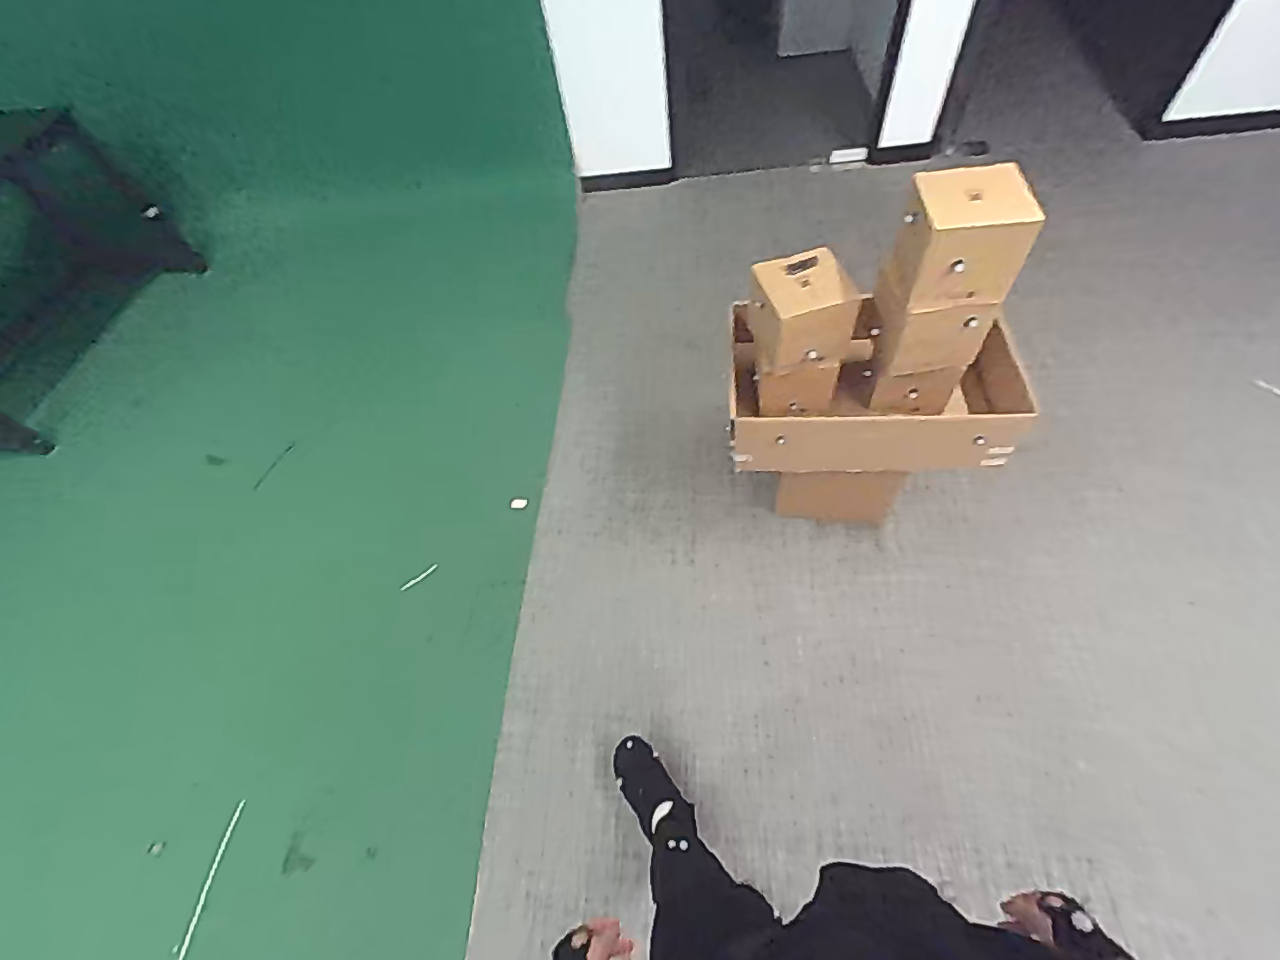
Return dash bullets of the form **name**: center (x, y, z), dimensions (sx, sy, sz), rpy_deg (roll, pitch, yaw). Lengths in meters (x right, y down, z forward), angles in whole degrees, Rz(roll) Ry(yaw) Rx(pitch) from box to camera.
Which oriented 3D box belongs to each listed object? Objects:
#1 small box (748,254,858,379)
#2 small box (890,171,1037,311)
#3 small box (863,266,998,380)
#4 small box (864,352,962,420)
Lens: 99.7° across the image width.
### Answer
- **small box**: center (0.337, -0.346, 1.158), dimensions (0.168, 0.176, 0.179), rpy_deg (-15, 57, -1)
- **small box**: center (0.570, -0.424, 0.981), dimensions (0.168, 0.176, 0.179), rpy_deg (-1, 55, 9)
- **small box**: center (0.583, -0.329, 1.112), dimensions (0.179, 0.176, 0.168), rpy_deg (-8, 55, 5)
- **small box**: center (0.628, -0.259, 1.257), dimensions (0.168, 0.176, 0.179), rpy_deg (8, 59, 13)
